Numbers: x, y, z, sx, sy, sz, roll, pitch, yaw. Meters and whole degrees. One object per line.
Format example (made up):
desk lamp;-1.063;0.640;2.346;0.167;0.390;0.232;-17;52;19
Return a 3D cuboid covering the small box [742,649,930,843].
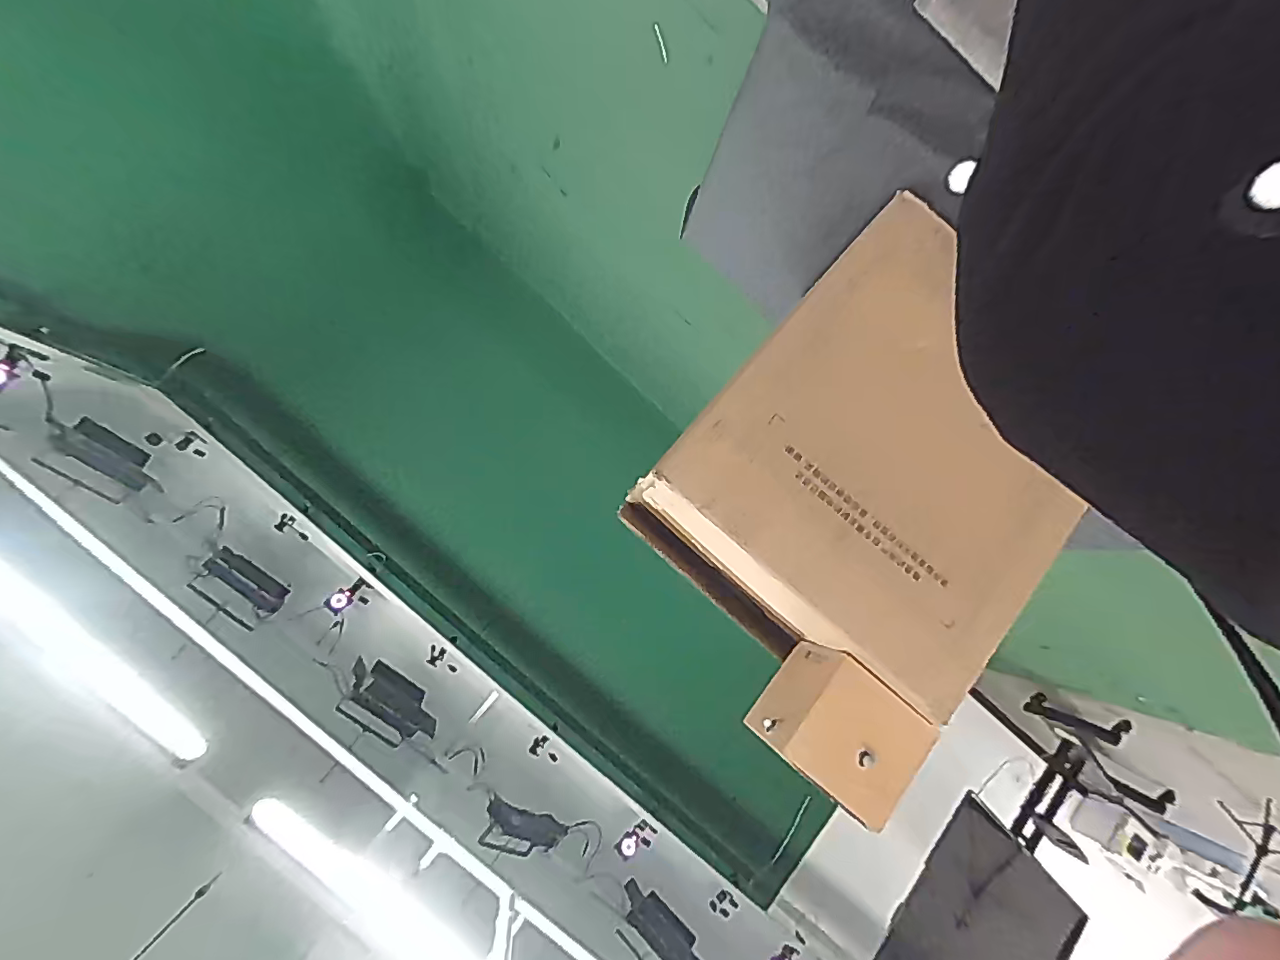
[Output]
small box;0.292;0.386;0.818;0.179;0.176;0.168;39;166;1
